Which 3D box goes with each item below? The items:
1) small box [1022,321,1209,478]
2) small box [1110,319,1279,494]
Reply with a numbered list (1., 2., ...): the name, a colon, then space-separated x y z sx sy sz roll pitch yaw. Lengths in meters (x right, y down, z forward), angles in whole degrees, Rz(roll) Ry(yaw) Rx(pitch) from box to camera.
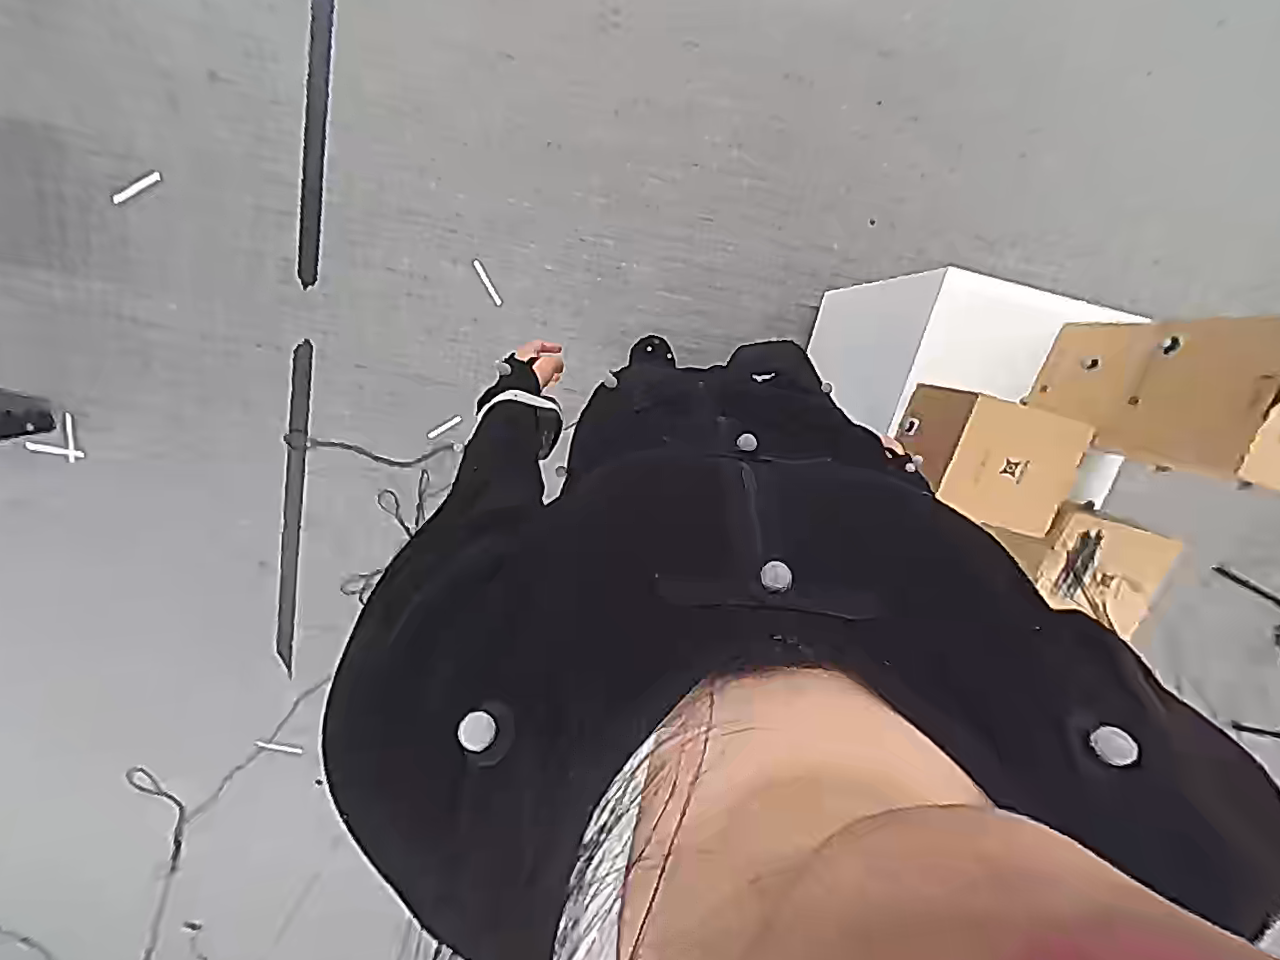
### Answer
1. small box: 0.707 -0.121 0.778 0.179 0.176 0.168 16 105 -5
2. small box: 0.710 -0.080 0.619 0.179 0.176 0.168 15 105 -5
